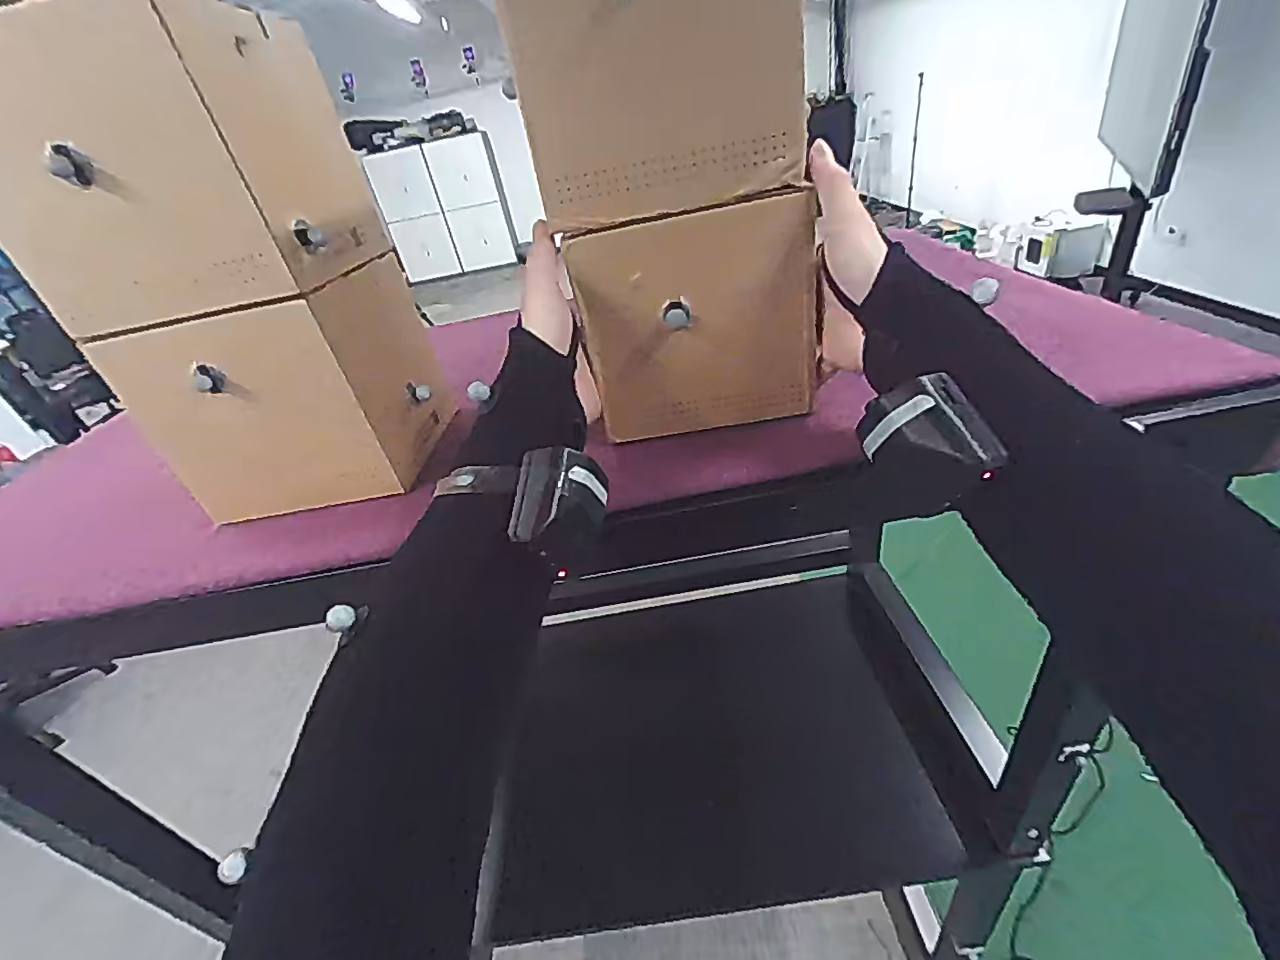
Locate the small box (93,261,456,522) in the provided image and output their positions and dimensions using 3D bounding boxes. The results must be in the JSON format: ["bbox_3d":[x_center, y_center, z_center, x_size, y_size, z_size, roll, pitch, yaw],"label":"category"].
[{"bbox_3d":[-0.298,-0.079,0.491,0.179,0.176,0.168,-10,33,5],"label":"small box"}]

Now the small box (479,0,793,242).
[{"bbox_3d":[0.003,-0.283,0.387,0.179,0.176,0.168,-8,33,7],"label":"small box"}]

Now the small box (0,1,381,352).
[{"bbox_3d":[-0.330,-0.213,0.401,0.179,0.176,0.168,-11,33,6],"label":"small box"}]

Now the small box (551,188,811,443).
[{"bbox_3d":[0.040,-0.149,0.474,0.179,0.176,0.168,-11,34,7],"label":"small box"}]
